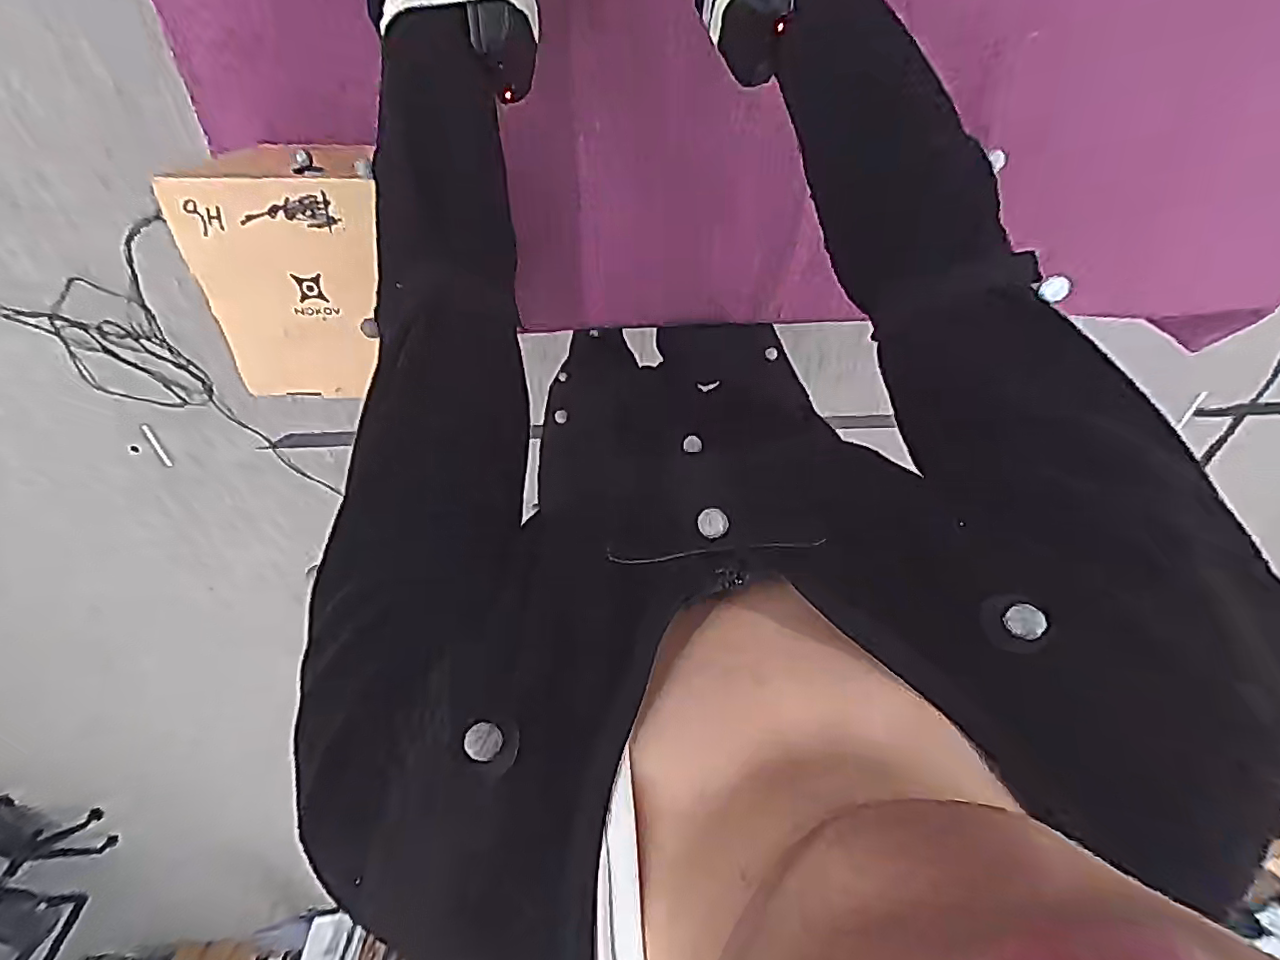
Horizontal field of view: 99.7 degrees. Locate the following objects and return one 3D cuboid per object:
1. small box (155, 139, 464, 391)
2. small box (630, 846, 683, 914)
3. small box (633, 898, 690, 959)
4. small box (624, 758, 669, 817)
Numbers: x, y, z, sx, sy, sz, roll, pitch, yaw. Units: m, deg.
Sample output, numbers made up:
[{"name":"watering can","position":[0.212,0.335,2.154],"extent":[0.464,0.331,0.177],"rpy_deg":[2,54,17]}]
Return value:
[{"name":"small box","position":[-0.270,-0.200,0.500],"extent":[0.168,0.176,0.179],"rpy_deg":[-2,129,-5]},{"name":"small box","position":[0.056,1.505,2.036],"extent":[0.179,0.176,0.168],"rpy_deg":[-1,128,-6]},{"name":"small box","position":[0.070,1.606,1.910],"extent":[0.179,0.176,0.168],"rpy_deg":[0,128,-6]},{"name":"small box","position":[0.026,1.299,2.291],"extent":[0.179,0.176,0.168],"rpy_deg":[-3,128,-3]}]
